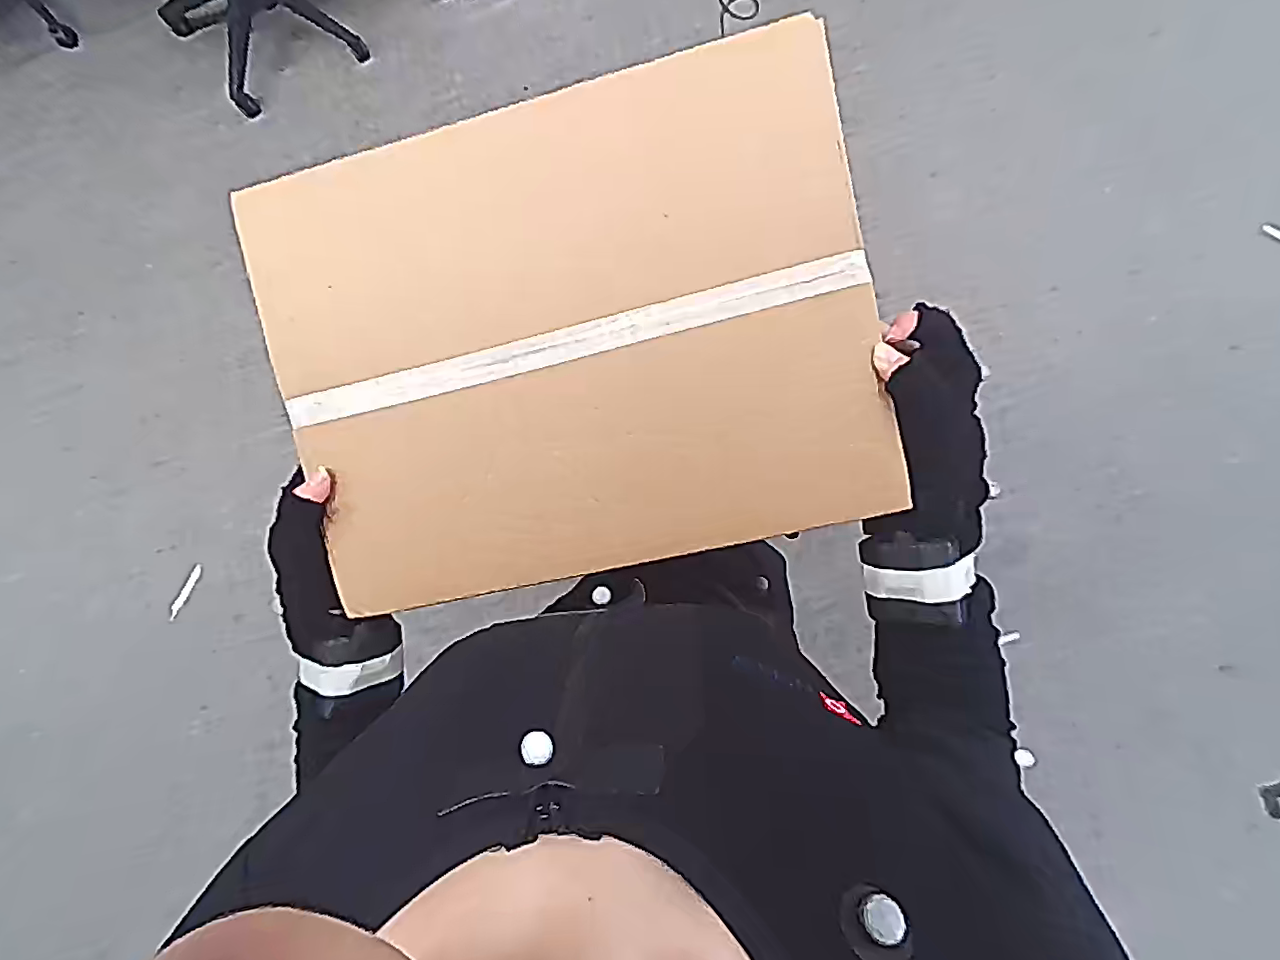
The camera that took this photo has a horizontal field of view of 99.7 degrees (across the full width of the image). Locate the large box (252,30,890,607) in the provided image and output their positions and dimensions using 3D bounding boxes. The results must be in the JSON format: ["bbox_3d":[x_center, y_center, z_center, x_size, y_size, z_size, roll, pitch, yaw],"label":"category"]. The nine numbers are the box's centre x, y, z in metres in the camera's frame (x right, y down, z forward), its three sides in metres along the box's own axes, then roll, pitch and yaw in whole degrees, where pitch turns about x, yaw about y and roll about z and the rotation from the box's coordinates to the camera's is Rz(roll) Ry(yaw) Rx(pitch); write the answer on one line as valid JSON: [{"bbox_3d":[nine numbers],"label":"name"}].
[{"bbox_3d":[-0.039,-0.111,0.523,0.408,0.320,0.320,-12,94,7],"label":"large box"}]
